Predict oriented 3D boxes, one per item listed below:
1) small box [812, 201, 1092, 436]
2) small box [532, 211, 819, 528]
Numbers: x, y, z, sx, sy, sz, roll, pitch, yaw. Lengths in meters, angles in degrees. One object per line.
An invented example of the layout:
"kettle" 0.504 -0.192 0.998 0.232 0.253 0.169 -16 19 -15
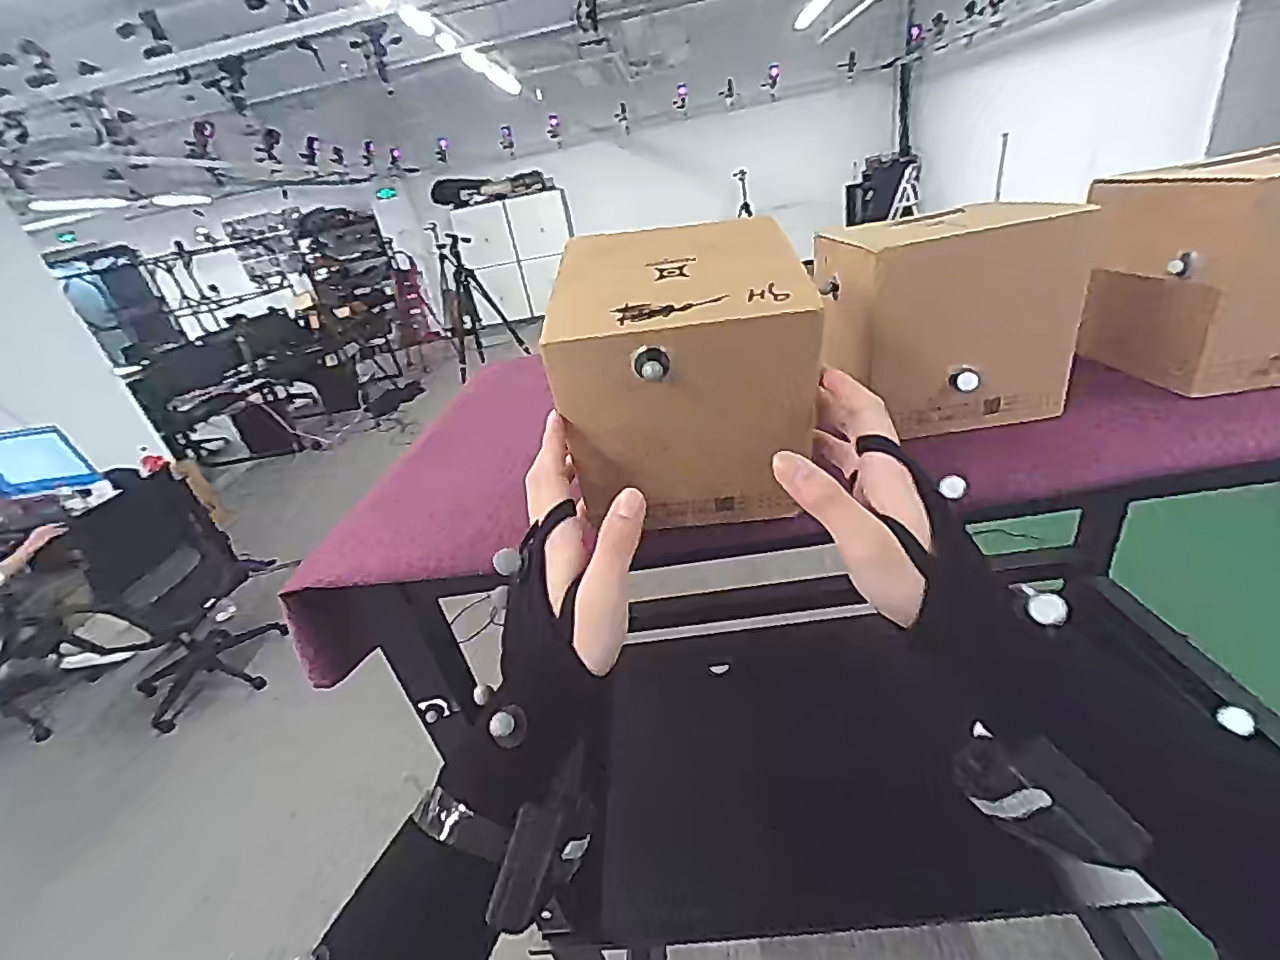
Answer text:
"small box" 0.265 -0.156 0.512 0.168 0.176 0.179 -8 28 6
"small box" 0.030 -0.085 0.416 0.168 0.176 0.179 -6 41 6
